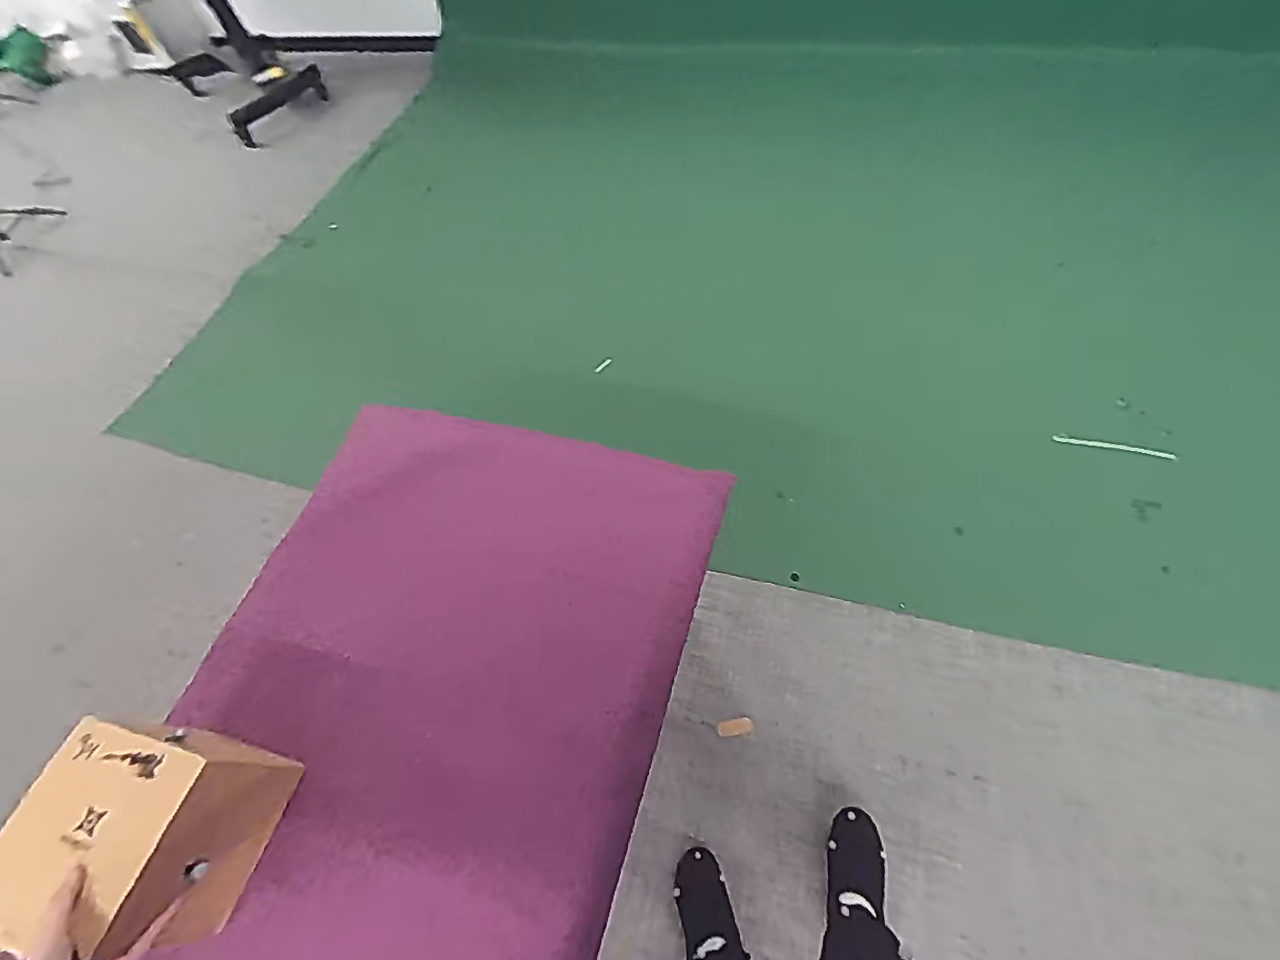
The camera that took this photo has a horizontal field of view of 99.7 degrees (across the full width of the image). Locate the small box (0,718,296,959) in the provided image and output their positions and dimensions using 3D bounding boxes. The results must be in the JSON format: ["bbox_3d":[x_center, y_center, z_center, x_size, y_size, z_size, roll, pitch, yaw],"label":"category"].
[{"bbox_3d":[-0.525,0.379,0.586,0.168,0.176,0.179,12,62,11],"label":"small box"}]
